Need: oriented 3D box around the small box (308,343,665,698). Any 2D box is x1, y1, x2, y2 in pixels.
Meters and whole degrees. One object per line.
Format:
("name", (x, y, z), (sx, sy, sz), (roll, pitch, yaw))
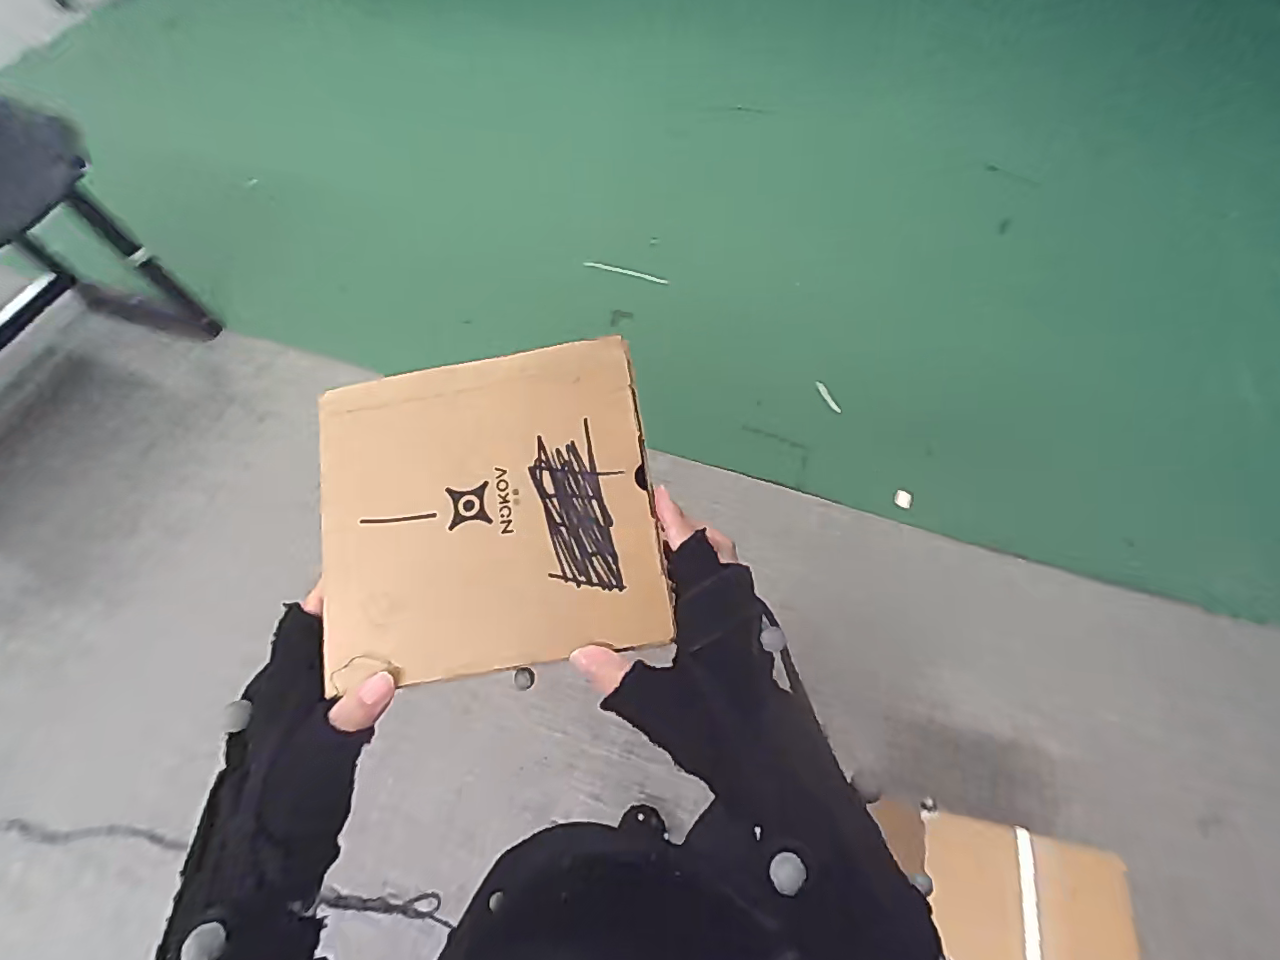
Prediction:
("small box", (-0.082, 0.033, 0.359), (0.179, 0.176, 0.168), (-10, 76, 1))
